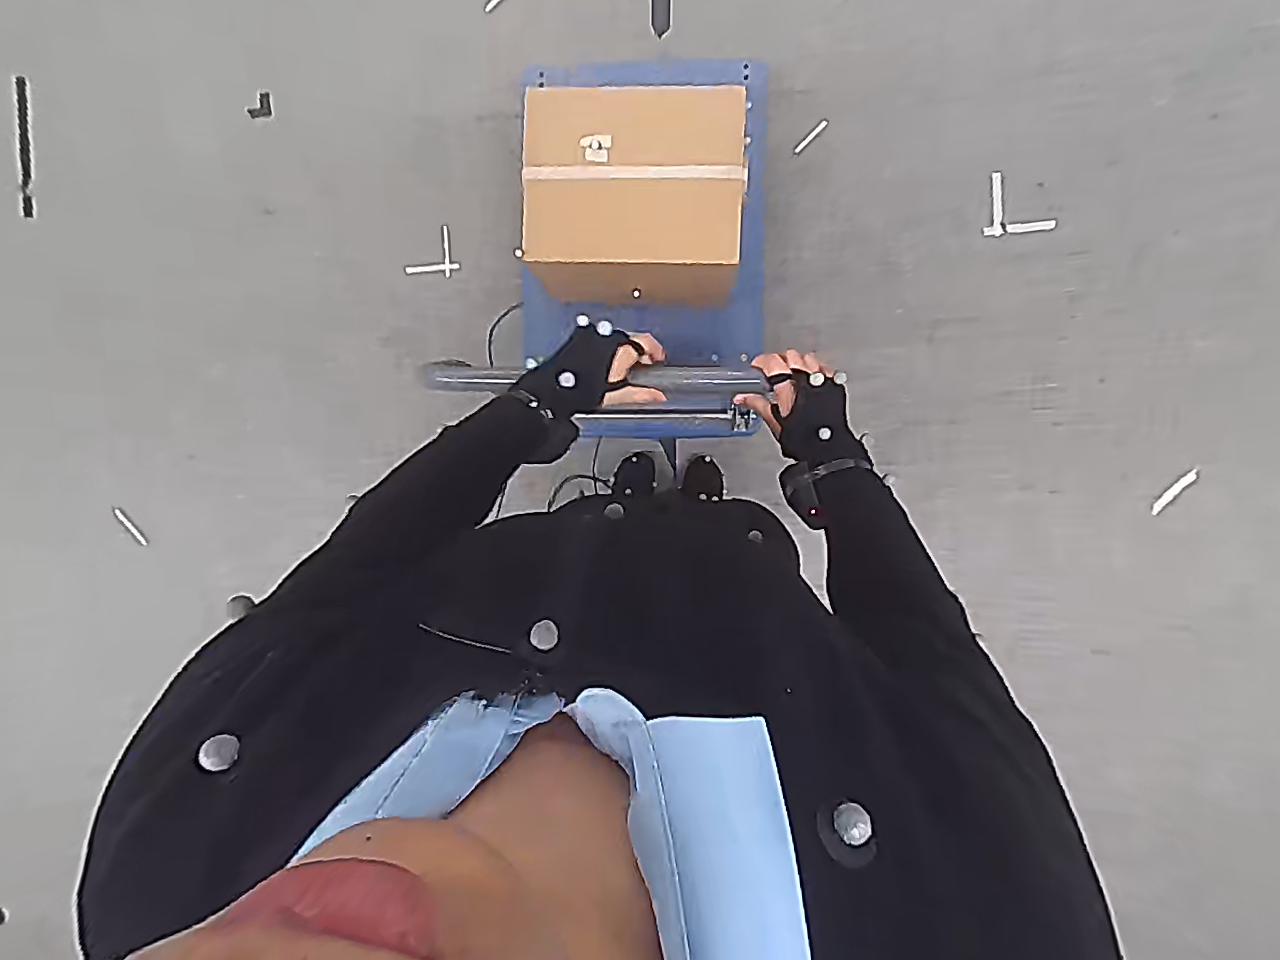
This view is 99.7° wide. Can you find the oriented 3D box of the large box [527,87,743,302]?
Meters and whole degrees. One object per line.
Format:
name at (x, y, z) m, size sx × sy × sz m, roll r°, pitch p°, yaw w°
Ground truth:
large box at (0.000, -0.571, 1.147) m, size 0.408 × 0.320 × 0.320 m, roll 2°, pitch 93°, yaw 5°
